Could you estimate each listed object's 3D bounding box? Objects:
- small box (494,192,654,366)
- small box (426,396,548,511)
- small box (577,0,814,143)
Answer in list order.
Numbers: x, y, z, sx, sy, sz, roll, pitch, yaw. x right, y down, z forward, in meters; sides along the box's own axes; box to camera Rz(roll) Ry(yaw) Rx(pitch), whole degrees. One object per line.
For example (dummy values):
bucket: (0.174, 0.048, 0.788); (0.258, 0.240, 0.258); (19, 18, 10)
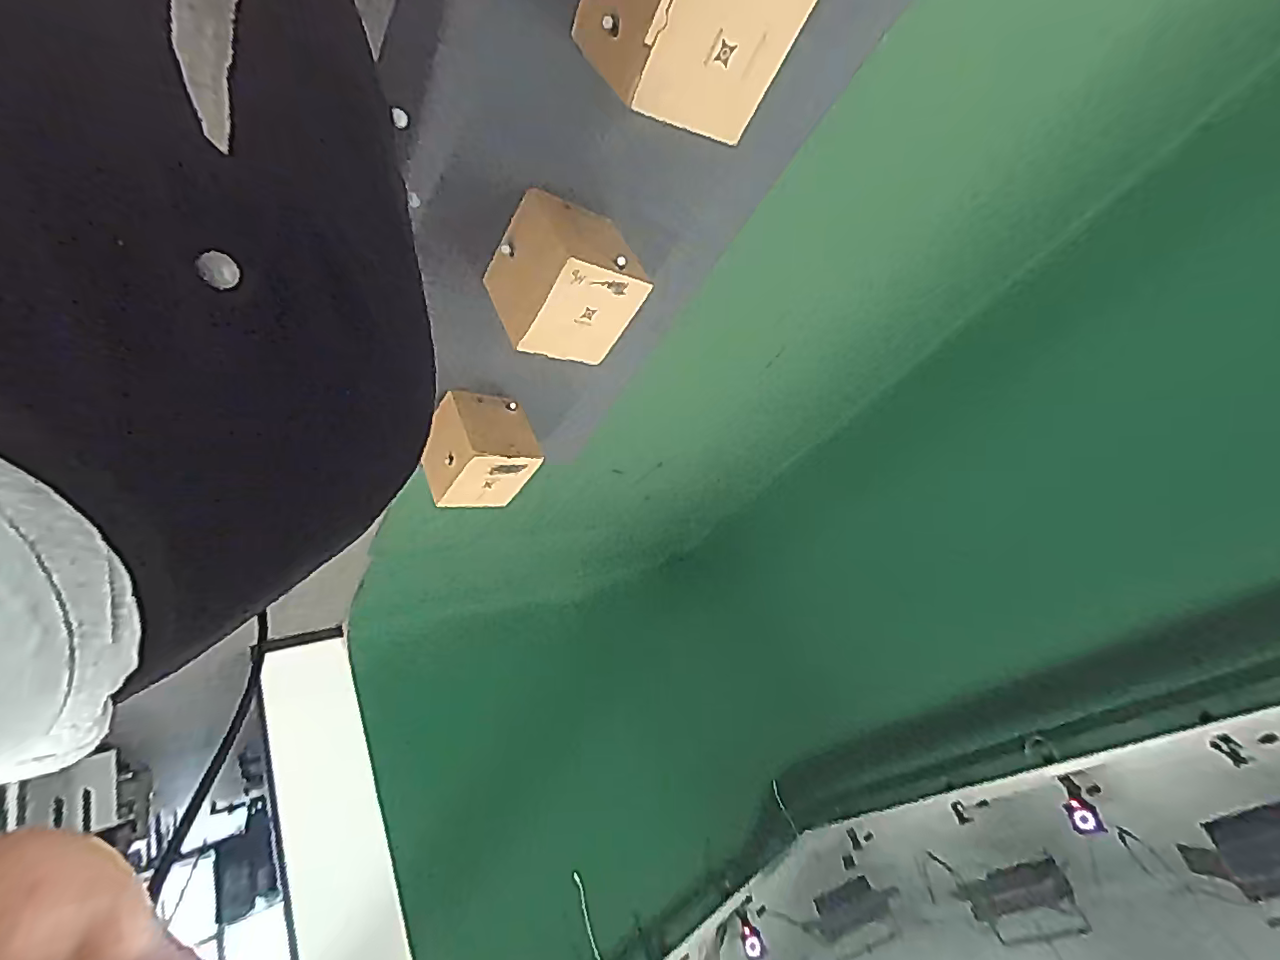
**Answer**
small box: (-0.114, -0.311, 0.862); (0.168, 0.176, 0.179); (-2, 146, -44)
small box: (-0.327, -0.054, 1.136); (0.168, 0.176, 0.179); (2, 142, -47)
small box: (0.053, -0.528, 0.614); (0.179, 0.176, 0.168); (-12, 153, -36)
